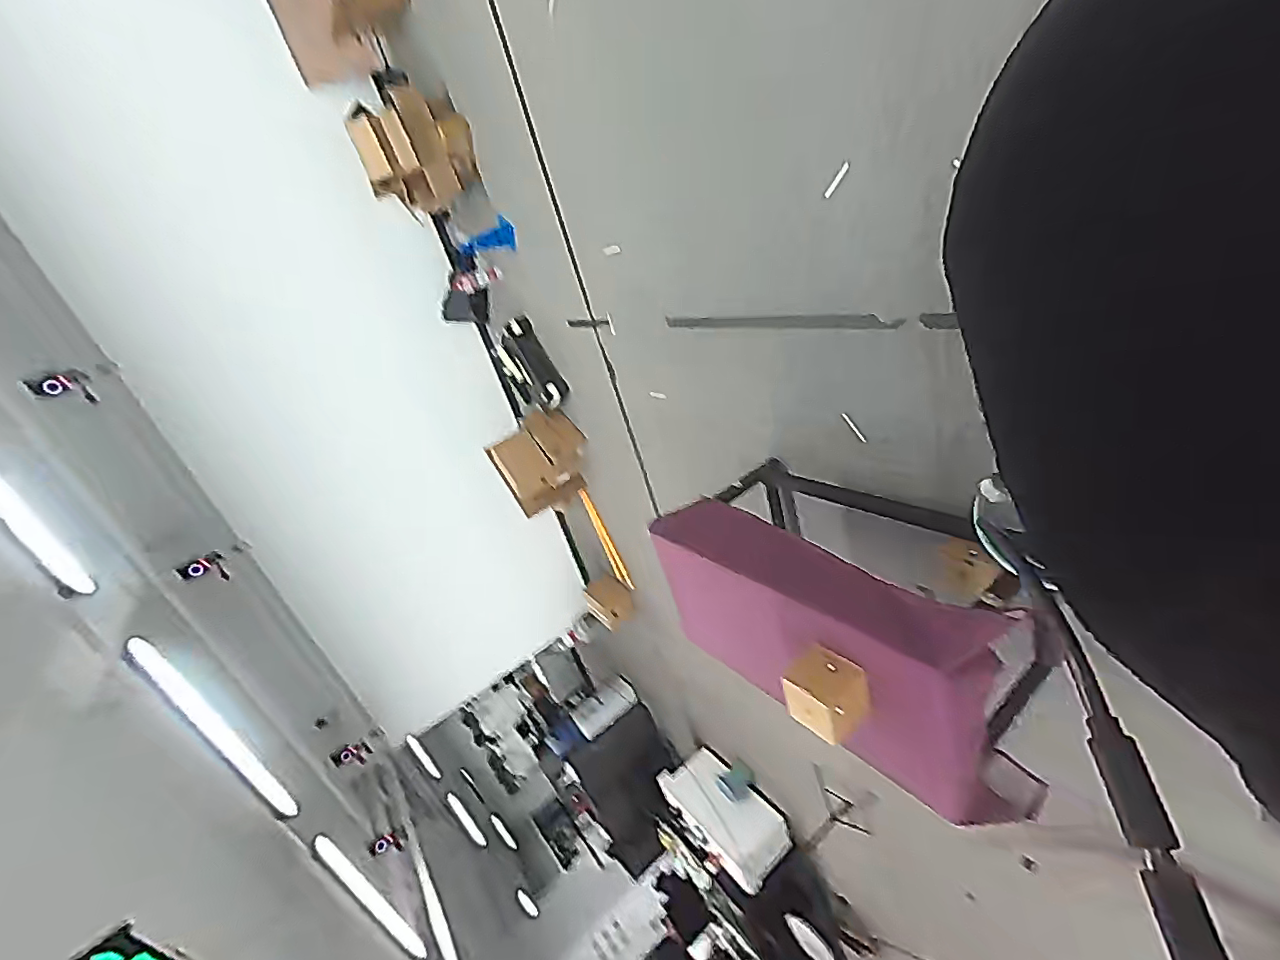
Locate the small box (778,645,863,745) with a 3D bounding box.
[{"bbox_3d":[0.537,0.628,1.594,0.168,0.176,0.179,21,134,53],"label":"small box"}]
